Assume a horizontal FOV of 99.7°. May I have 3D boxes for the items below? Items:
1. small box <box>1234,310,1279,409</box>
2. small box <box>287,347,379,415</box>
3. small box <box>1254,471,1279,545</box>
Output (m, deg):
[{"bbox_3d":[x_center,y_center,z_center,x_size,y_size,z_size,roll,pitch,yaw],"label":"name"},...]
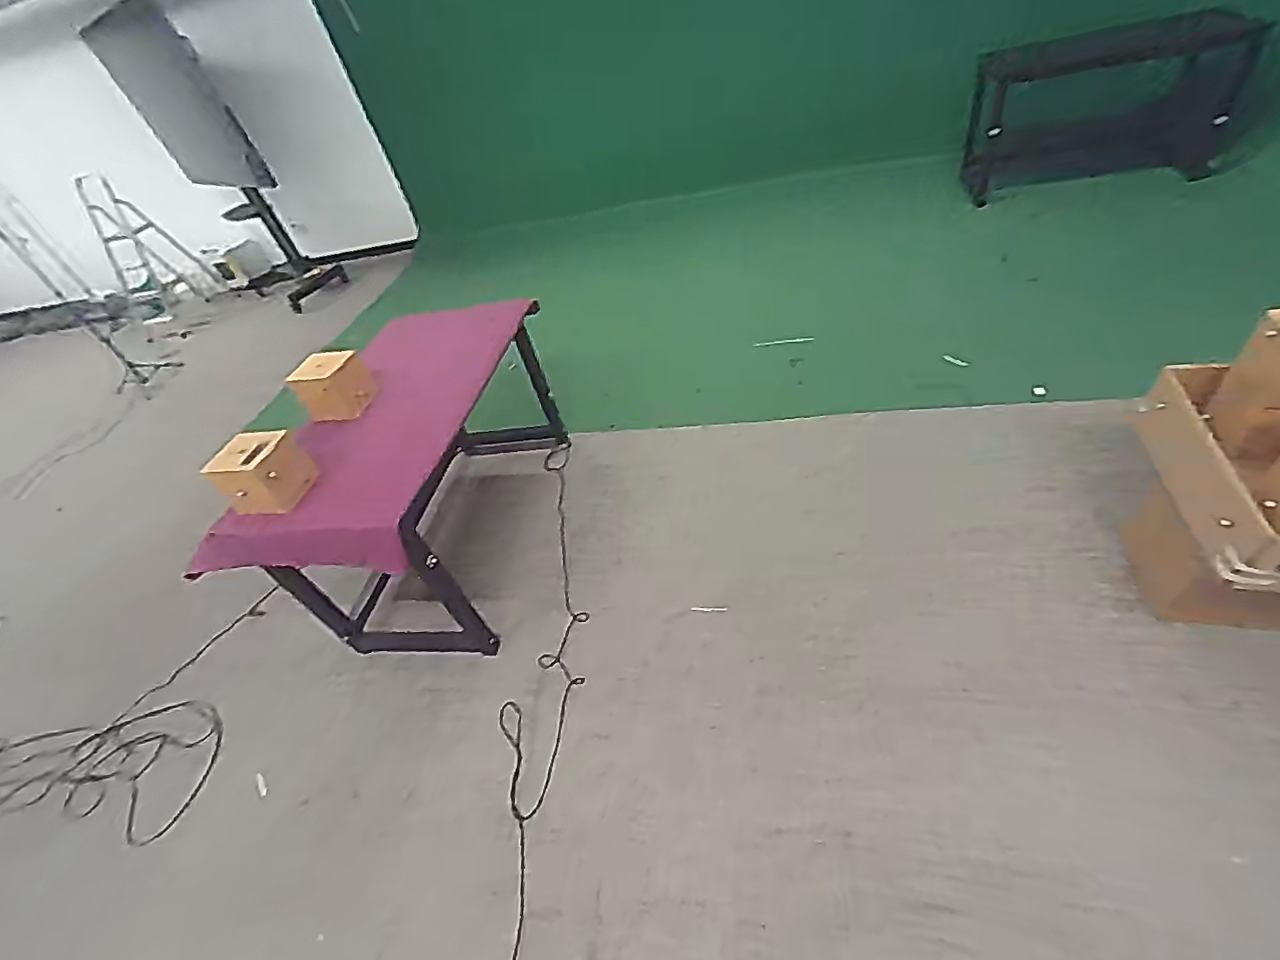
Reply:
[{"bbox_3d":[1.553,-0.277,1.240,0.179,0.176,0.168,1,45,17],"label":"small box"},{"bbox_3d":[-1.028,-0.331,1.826,0.179,0.176,0.168,0,45,13],"label":"small box"},{"bbox_3d":[1.504,0.048,1.158,0.179,0.176,0.168,7,47,22],"label":"small box"}]
